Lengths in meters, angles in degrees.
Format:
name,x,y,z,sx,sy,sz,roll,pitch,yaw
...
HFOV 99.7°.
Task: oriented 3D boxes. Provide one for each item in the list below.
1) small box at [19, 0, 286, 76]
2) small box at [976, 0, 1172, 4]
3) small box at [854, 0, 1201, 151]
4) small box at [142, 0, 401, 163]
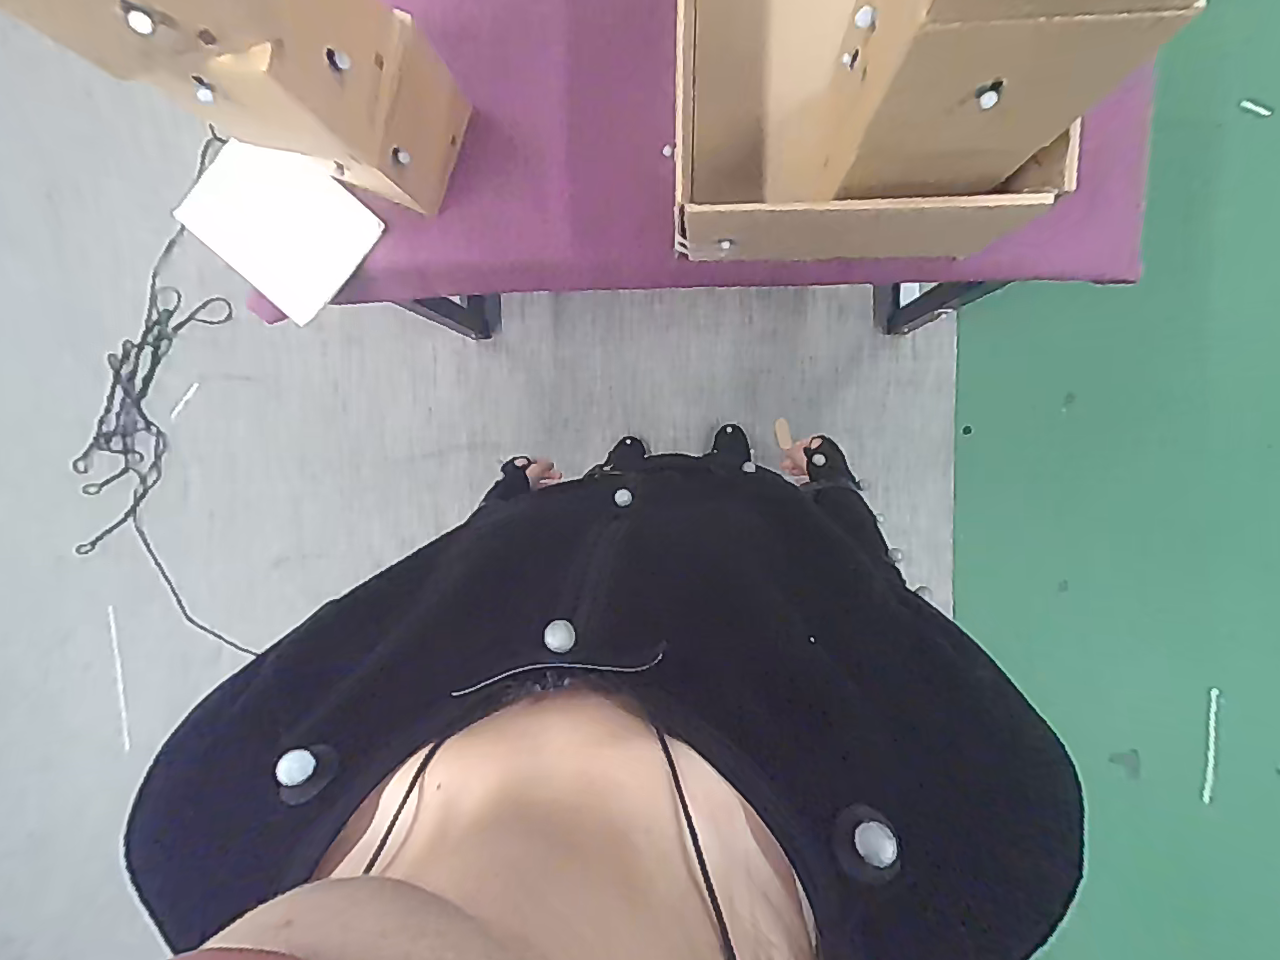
name,x,y,z,sx,sy,sz,roll,pitch,yaw
small box,-0.390,-0.437,0.375,0.168,0.176,0.179,-9,93,7
small box,0.266,-0.384,0.268,0.168,0.176,0.179,3,94,6
small box,0.287,-0.389,0.429,0.179,0.176,0.168,3,94,8
small box,-0.369,-0.447,0.538,0.179,0.176,0.168,13,95,5
